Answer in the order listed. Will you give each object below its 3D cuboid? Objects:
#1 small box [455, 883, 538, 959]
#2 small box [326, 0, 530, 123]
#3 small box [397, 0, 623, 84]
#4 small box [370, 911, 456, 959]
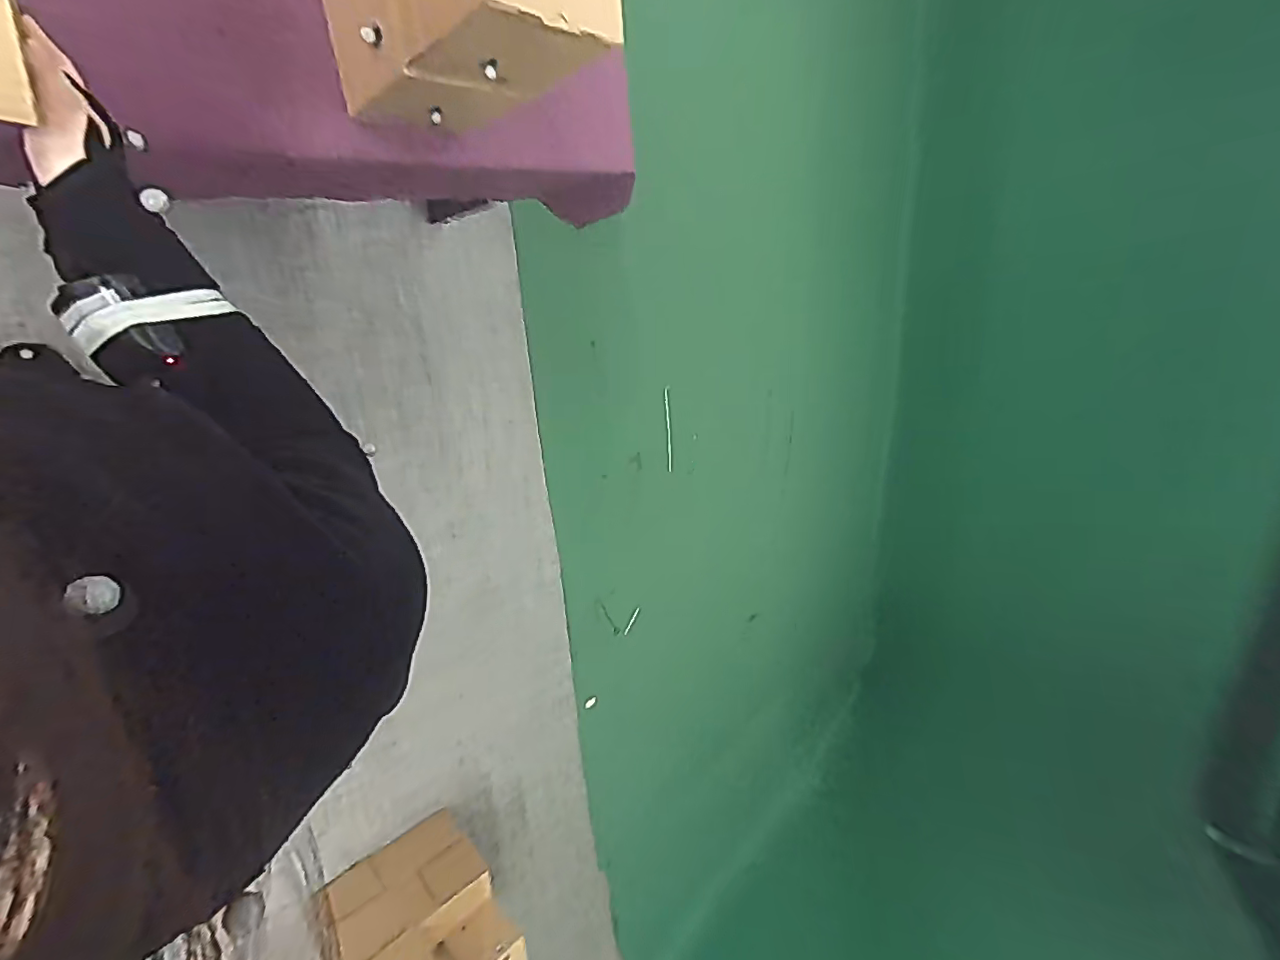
[{"bbox_3d":[-0.422,1.350,1.590,0.168,0.176,0.179,-21,117,-42],"label":"small box"},{"bbox_3d":[-0.258,-0.554,0.649,0.168,0.176,0.179,-25,117,-41],"label":"small box"},{"bbox_3d":[-0.139,-0.535,0.539,0.168,0.176,0.179,-24,118,-40],"label":"small box"},{"bbox_3d":[-0.585,1.289,1.399,0.179,0.176,0.168,-22,117,-41],"label":"small box"}]
